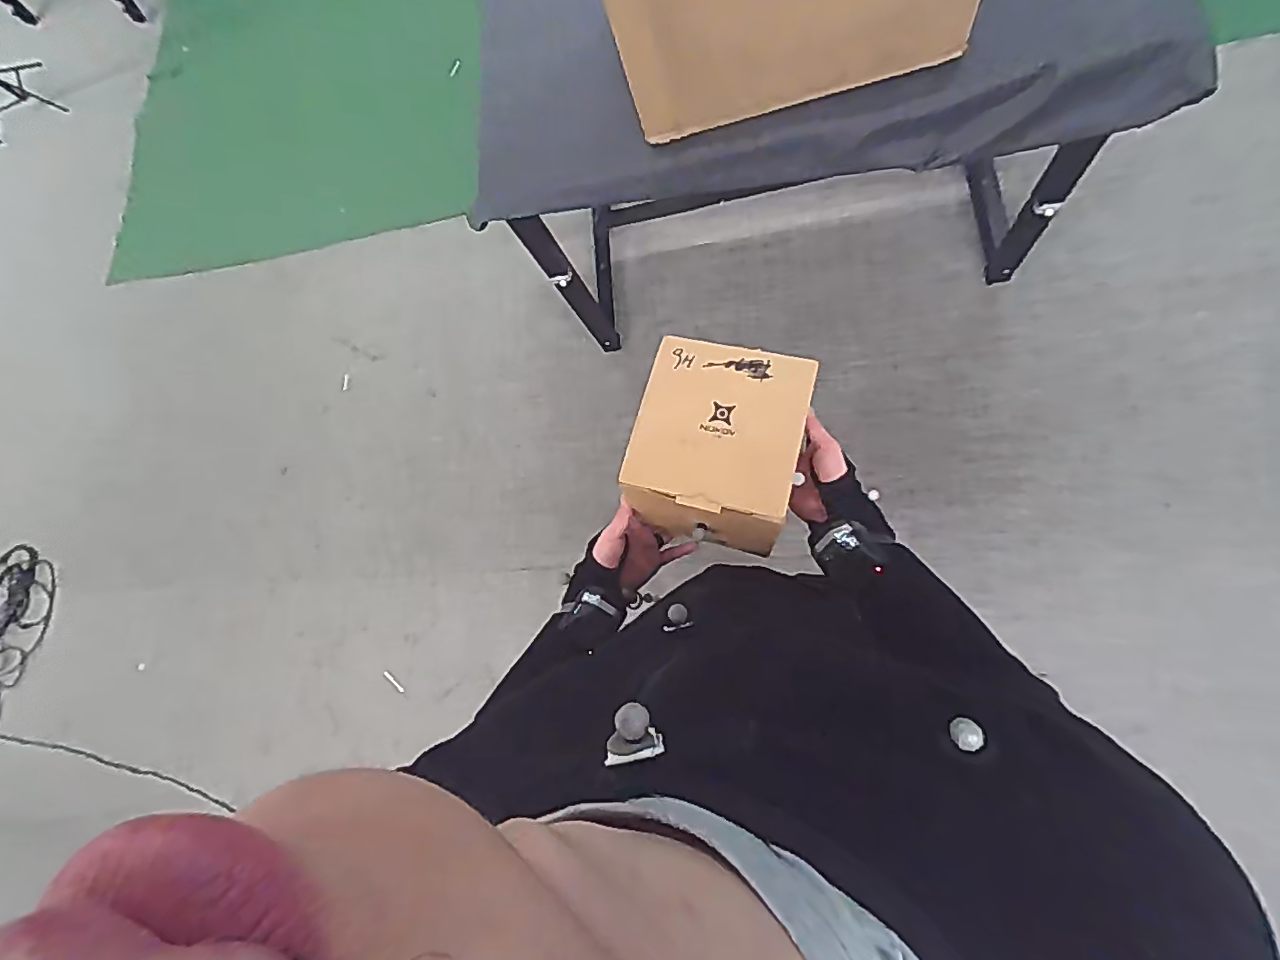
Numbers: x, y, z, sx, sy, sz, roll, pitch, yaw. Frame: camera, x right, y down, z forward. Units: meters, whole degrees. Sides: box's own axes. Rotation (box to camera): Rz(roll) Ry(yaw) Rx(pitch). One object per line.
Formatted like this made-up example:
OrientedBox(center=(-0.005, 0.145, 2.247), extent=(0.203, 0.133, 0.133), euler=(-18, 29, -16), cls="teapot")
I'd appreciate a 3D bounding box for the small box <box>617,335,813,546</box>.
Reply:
OrientedBox(center=(0.088, -0.035, 0.618), extent=(0.168, 0.176, 0.179), euler=(13, 74, 12), cls="small box")
